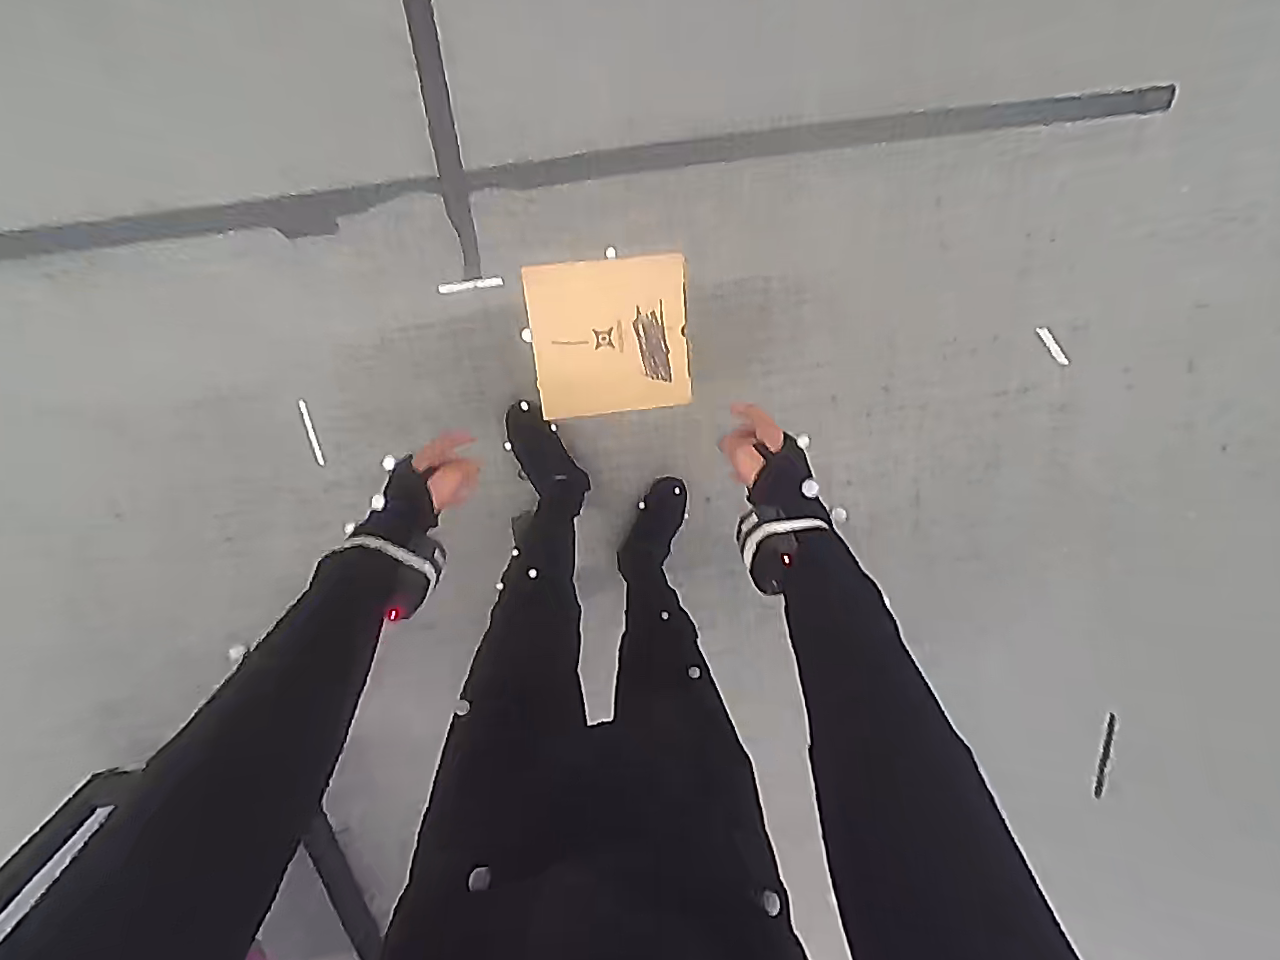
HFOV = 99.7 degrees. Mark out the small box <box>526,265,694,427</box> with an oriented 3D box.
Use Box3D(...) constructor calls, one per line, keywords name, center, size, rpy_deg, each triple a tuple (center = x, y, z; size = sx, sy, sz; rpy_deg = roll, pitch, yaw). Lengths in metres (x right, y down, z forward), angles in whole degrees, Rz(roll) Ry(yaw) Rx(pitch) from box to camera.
Box3D(name="small box", center=(-0.039, -0.172, 0.670), size=(0.179, 0.176, 0.168), rpy_deg=(-7, 109, -5))
